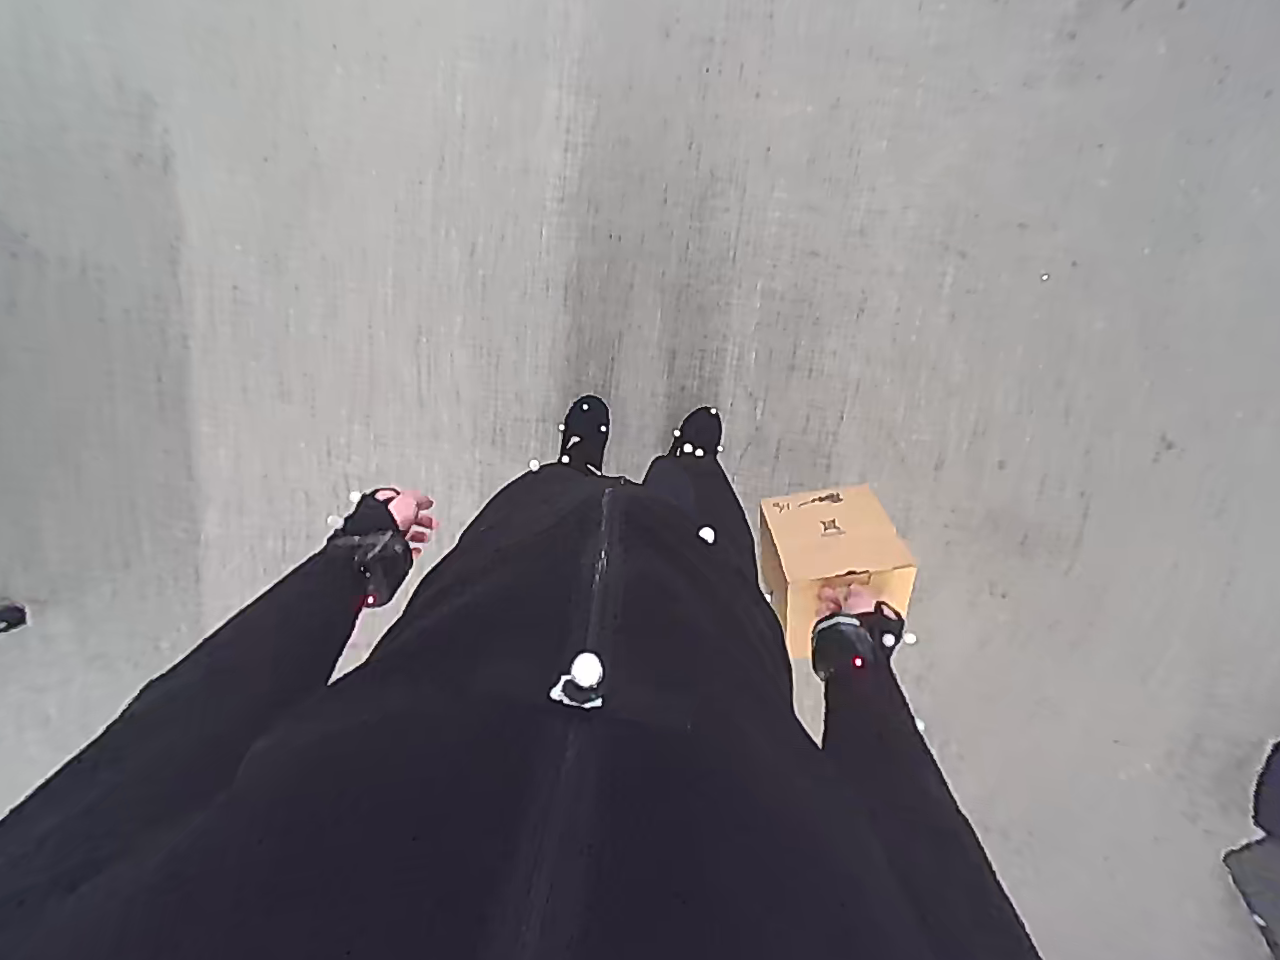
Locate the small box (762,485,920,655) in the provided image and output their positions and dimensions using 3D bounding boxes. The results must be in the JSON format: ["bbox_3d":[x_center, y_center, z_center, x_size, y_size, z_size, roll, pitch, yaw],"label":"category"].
[{"bbox_3d":[0.289,0.138,0.802,0.168,0.179,0.176,-13,125,3],"label":"small box"}]
